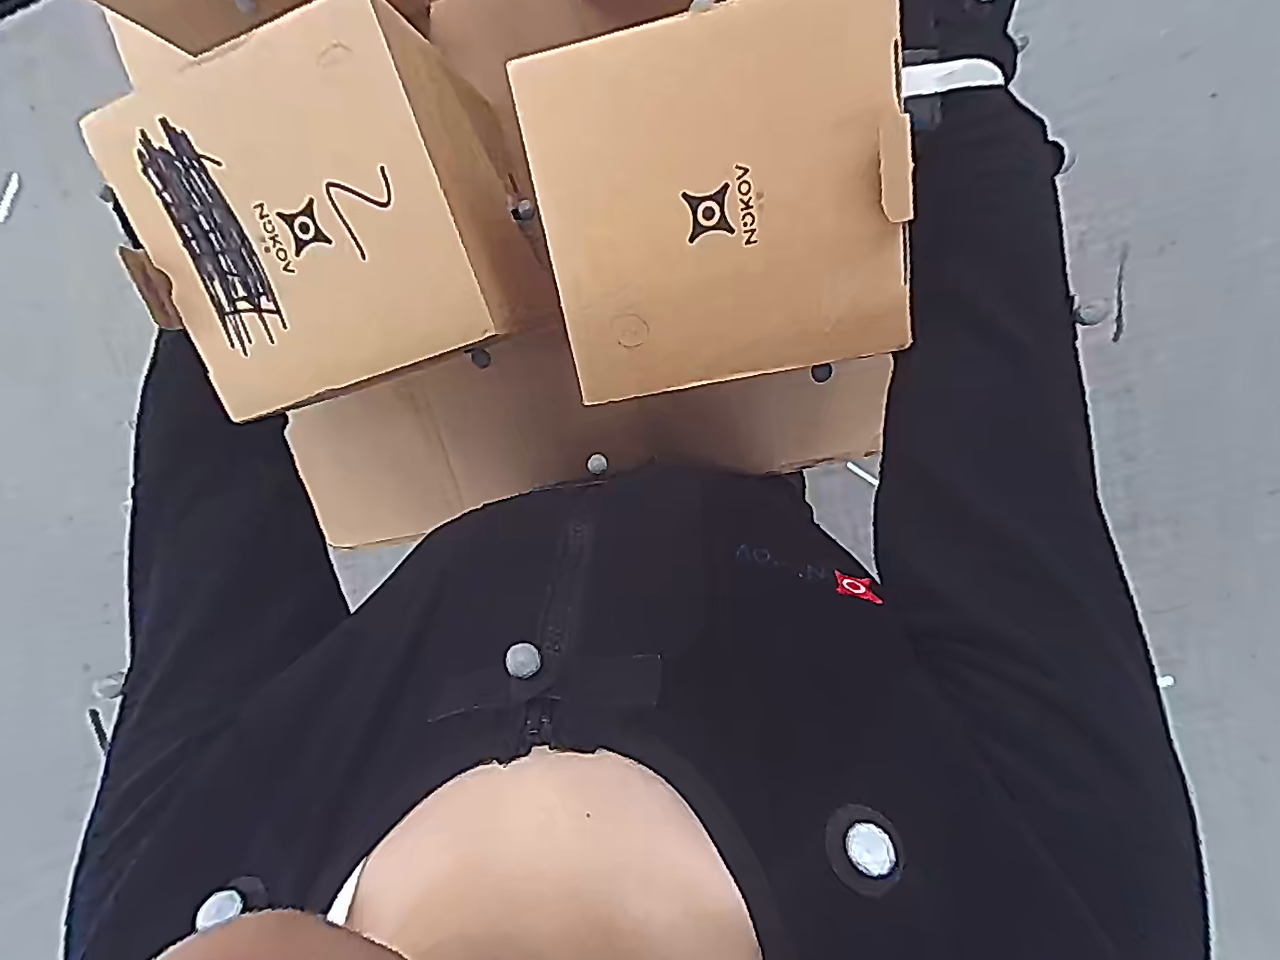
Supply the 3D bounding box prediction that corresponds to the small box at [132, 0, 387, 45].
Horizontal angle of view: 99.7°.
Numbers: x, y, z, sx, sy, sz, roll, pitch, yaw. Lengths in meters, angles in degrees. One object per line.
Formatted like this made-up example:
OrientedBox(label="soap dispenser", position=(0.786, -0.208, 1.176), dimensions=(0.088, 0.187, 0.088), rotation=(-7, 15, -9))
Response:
OrientedBox(label="small box", position=(-0.264, -0.394, 0.306), dimensions=(0.168, 0.176, 0.179), rotation=(-12, 102, 9))
